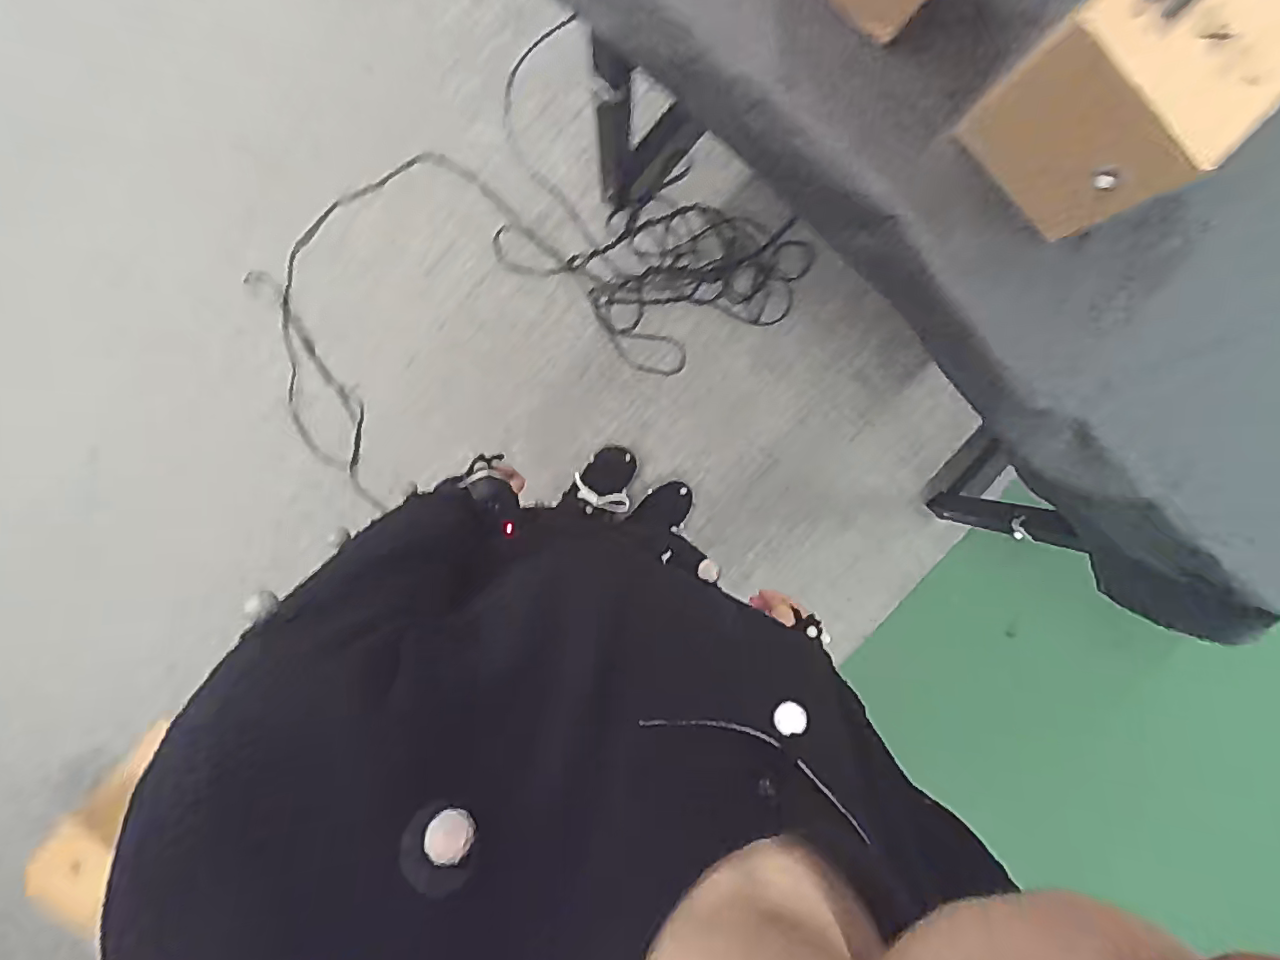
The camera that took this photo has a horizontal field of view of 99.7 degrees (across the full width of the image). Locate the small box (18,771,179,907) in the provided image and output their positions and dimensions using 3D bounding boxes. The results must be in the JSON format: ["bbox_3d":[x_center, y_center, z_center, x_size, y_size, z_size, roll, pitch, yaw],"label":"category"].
[{"bbox_3d":[-1.267,0.838,1.282,0.179,0.176,0.168,41,92,-4],"label":"small box"}]

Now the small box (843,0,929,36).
[{"bbox_3d":[0.265,-0.589,0.508,0.179,0.176,0.168,42,92,-5],"label":"small box"}]
